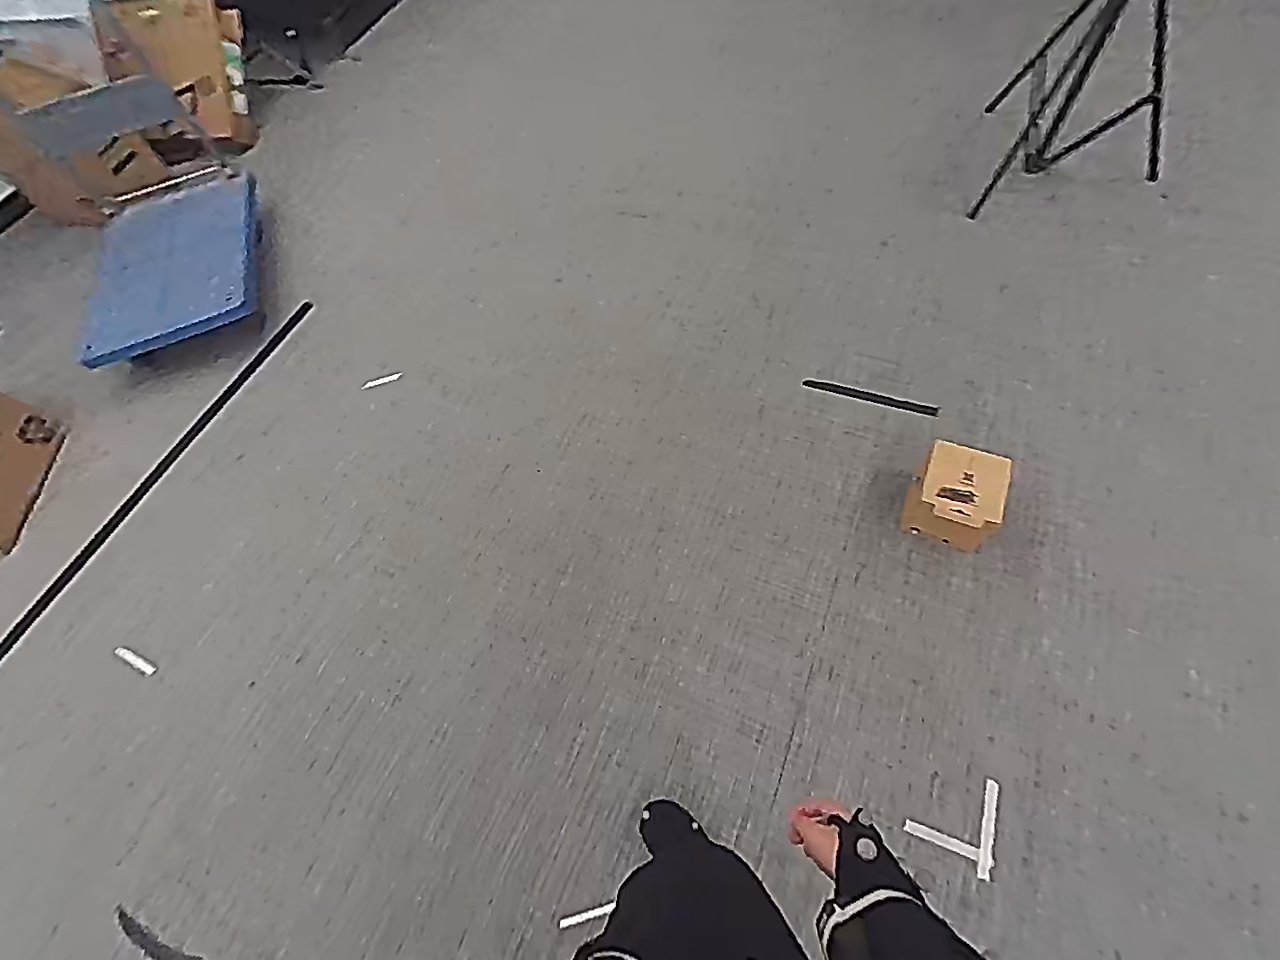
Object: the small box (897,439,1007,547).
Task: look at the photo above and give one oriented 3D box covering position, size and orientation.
[{"bbox_3d":[0.726,0.036,1.272,0.168,0.176,0.179,19,66,17],"label":"small box"}]
